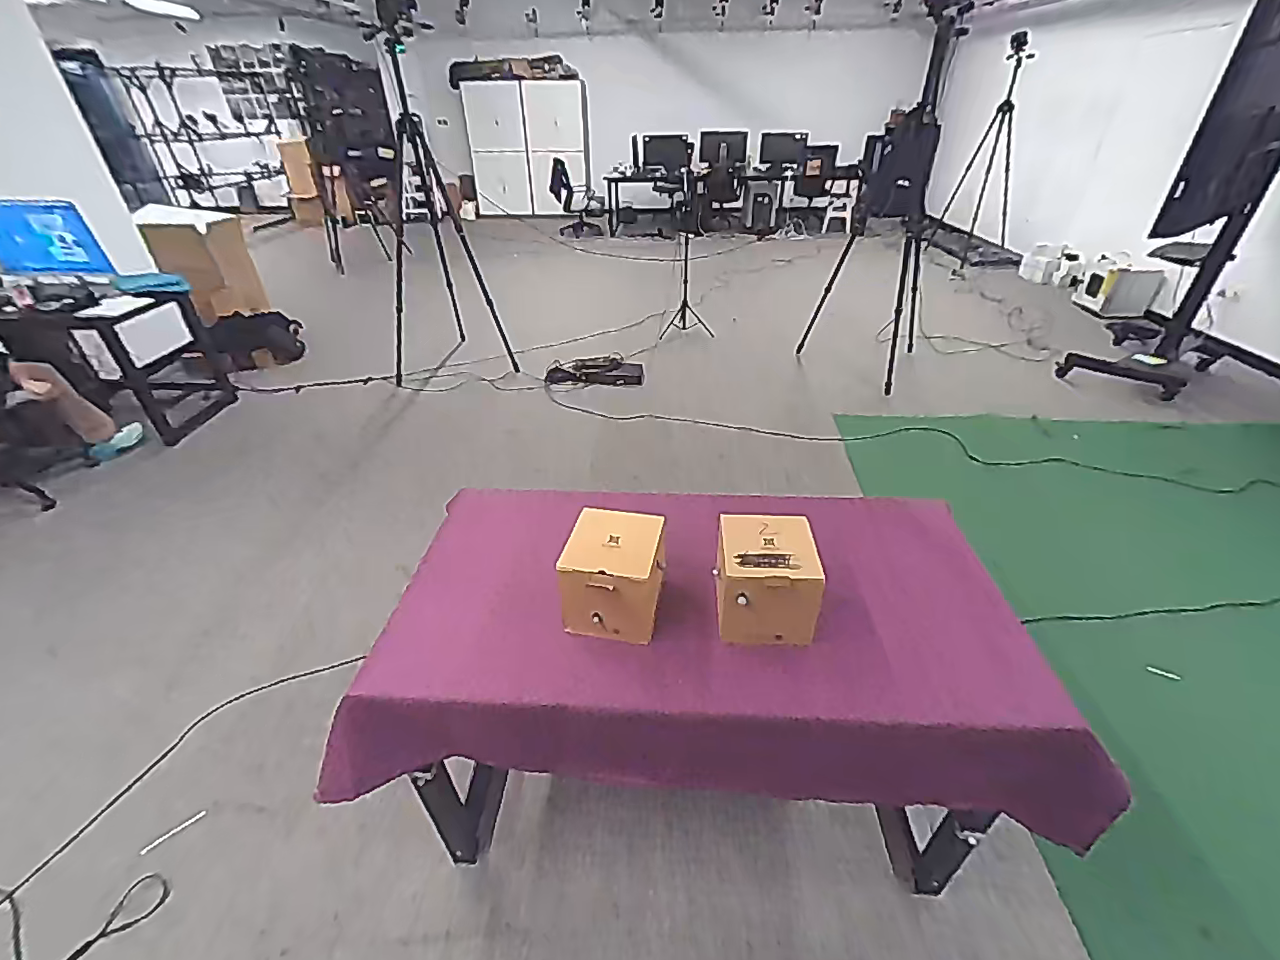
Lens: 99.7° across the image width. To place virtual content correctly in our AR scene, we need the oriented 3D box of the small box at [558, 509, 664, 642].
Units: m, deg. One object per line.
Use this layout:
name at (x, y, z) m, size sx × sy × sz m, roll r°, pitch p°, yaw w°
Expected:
small box at (-0.050, 0.183, 1.047) m, size 0.168 × 0.176 × 0.179 m, roll 6°, pitch 36°, yaw 10°
